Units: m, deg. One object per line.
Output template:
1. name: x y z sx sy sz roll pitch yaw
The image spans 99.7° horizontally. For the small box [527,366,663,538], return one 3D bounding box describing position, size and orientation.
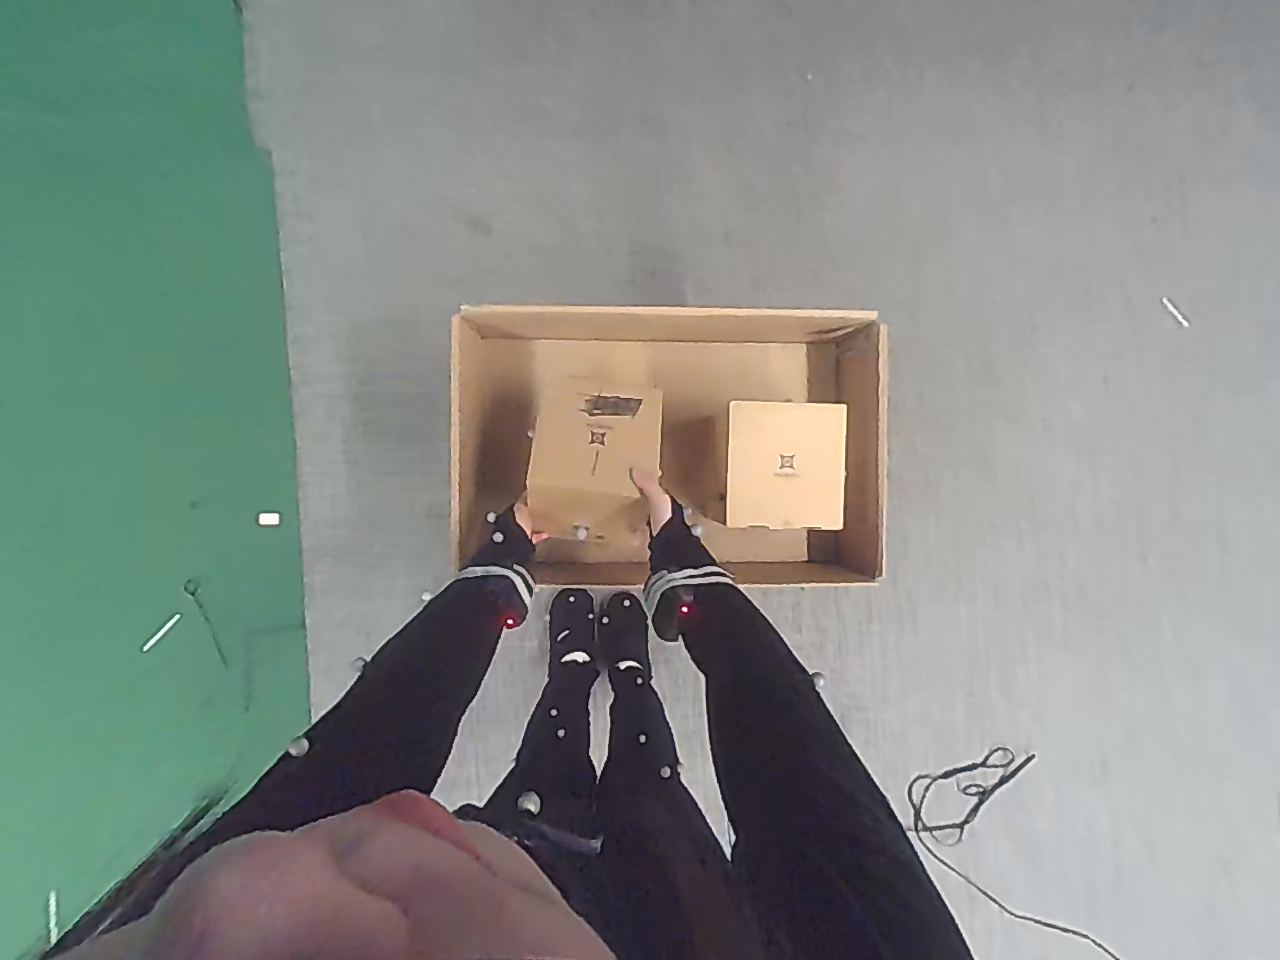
1. small box: -0.066 -0.033 0.775 0.168 0.176 0.179 7 63 -6
